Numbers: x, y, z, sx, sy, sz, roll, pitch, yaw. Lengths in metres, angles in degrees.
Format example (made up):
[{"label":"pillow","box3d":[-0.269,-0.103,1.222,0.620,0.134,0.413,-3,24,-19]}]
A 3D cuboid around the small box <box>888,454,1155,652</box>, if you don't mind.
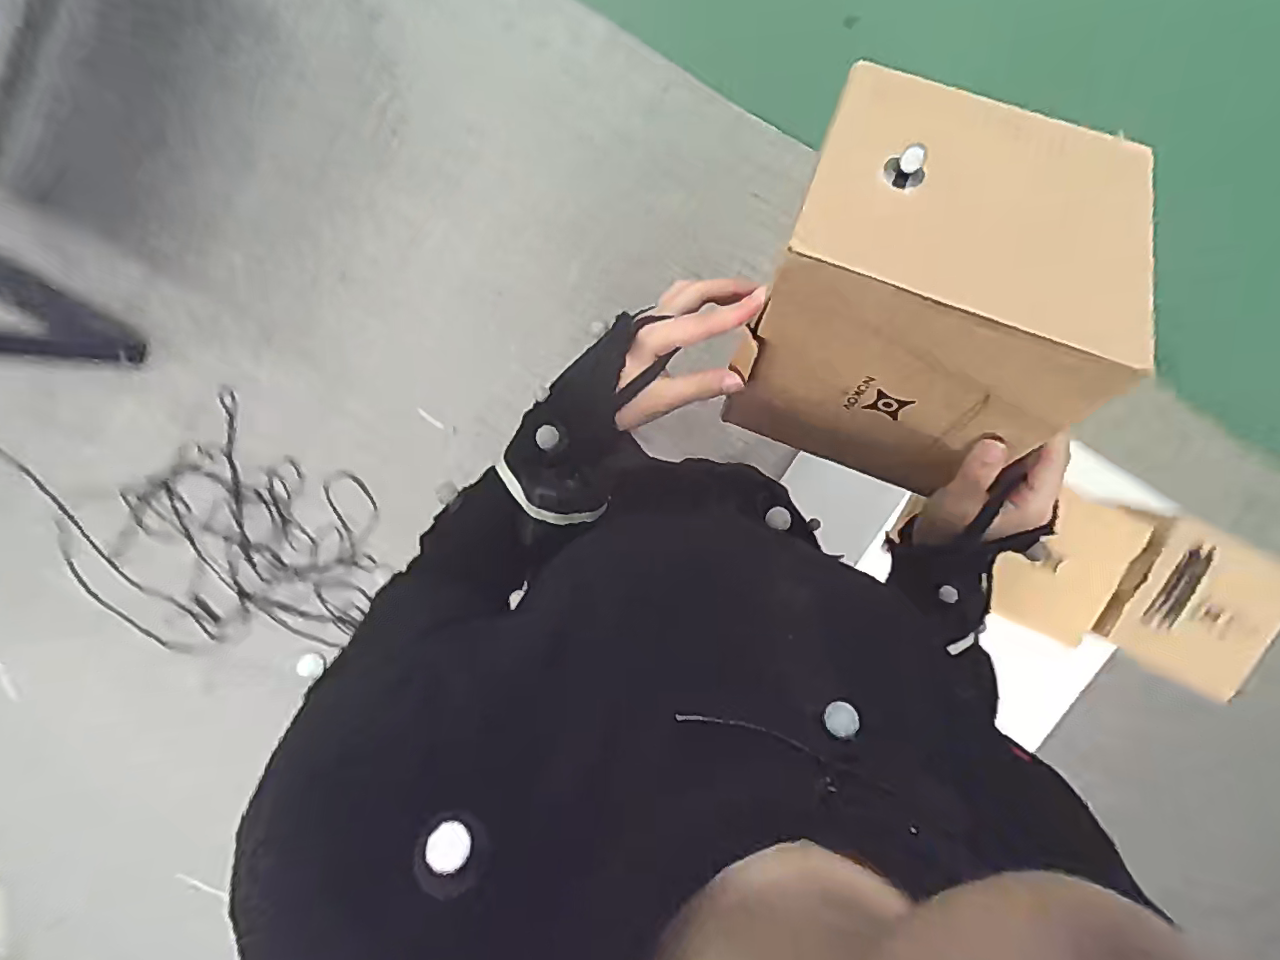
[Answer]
[{"label":"small box","box3d":[0.458,0.077,0.681,0.179,0.176,0.168,26,99,-4]}]
